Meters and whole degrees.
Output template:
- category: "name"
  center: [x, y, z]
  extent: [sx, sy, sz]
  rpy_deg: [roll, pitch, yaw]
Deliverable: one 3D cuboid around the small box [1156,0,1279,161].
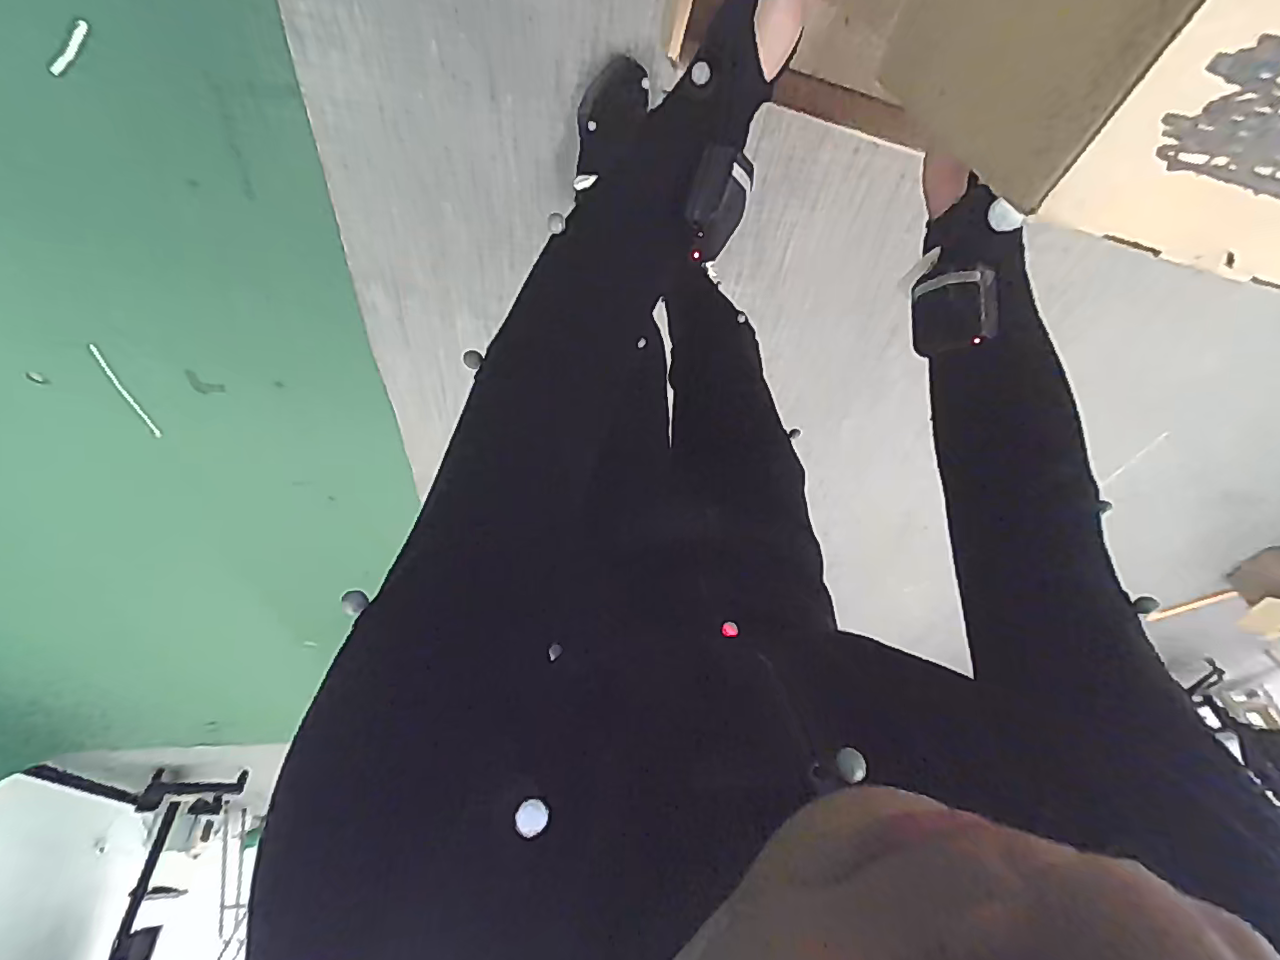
- category: "small box"
  center: [0.515, -0.352, 0.403]
  extent: [0.168, 0.176, 0.179]
  rpy_deg: [6, 141, -13]
